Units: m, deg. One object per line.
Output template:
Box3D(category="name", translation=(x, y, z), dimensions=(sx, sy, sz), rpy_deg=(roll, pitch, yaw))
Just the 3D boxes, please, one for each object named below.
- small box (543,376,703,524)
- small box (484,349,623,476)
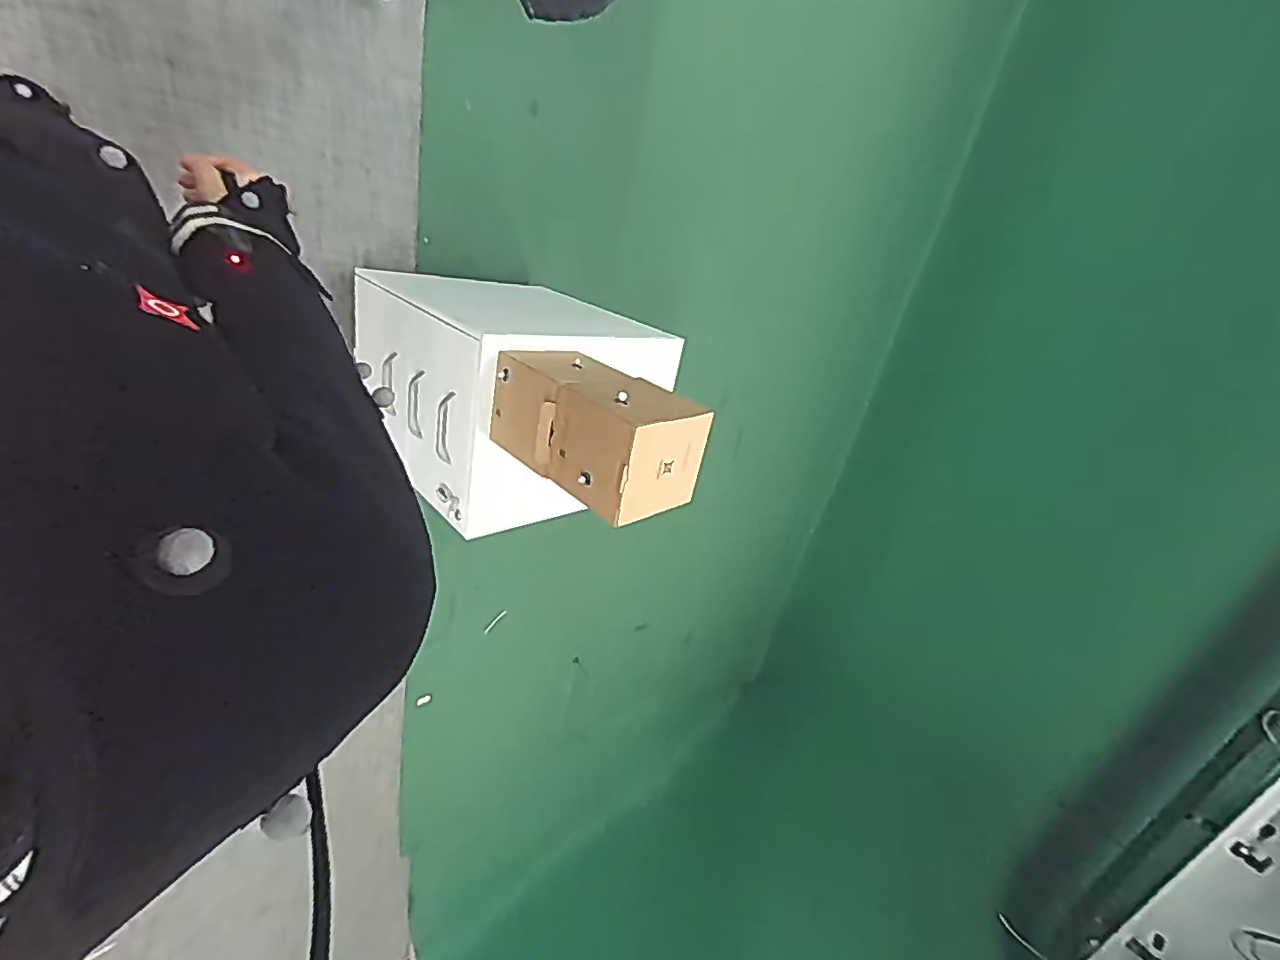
Box3D(category="small box", translation=(-0.032, -0.057, 0.858), dimensions=(0.179, 0.176, 0.168), rpy_deg=(-18, 130, -45))
Box3D(category="small box", translation=(-0.152, -0.125, 0.945), dimensions=(0.179, 0.176, 0.168), rpy_deg=(-14, 127, -46))
